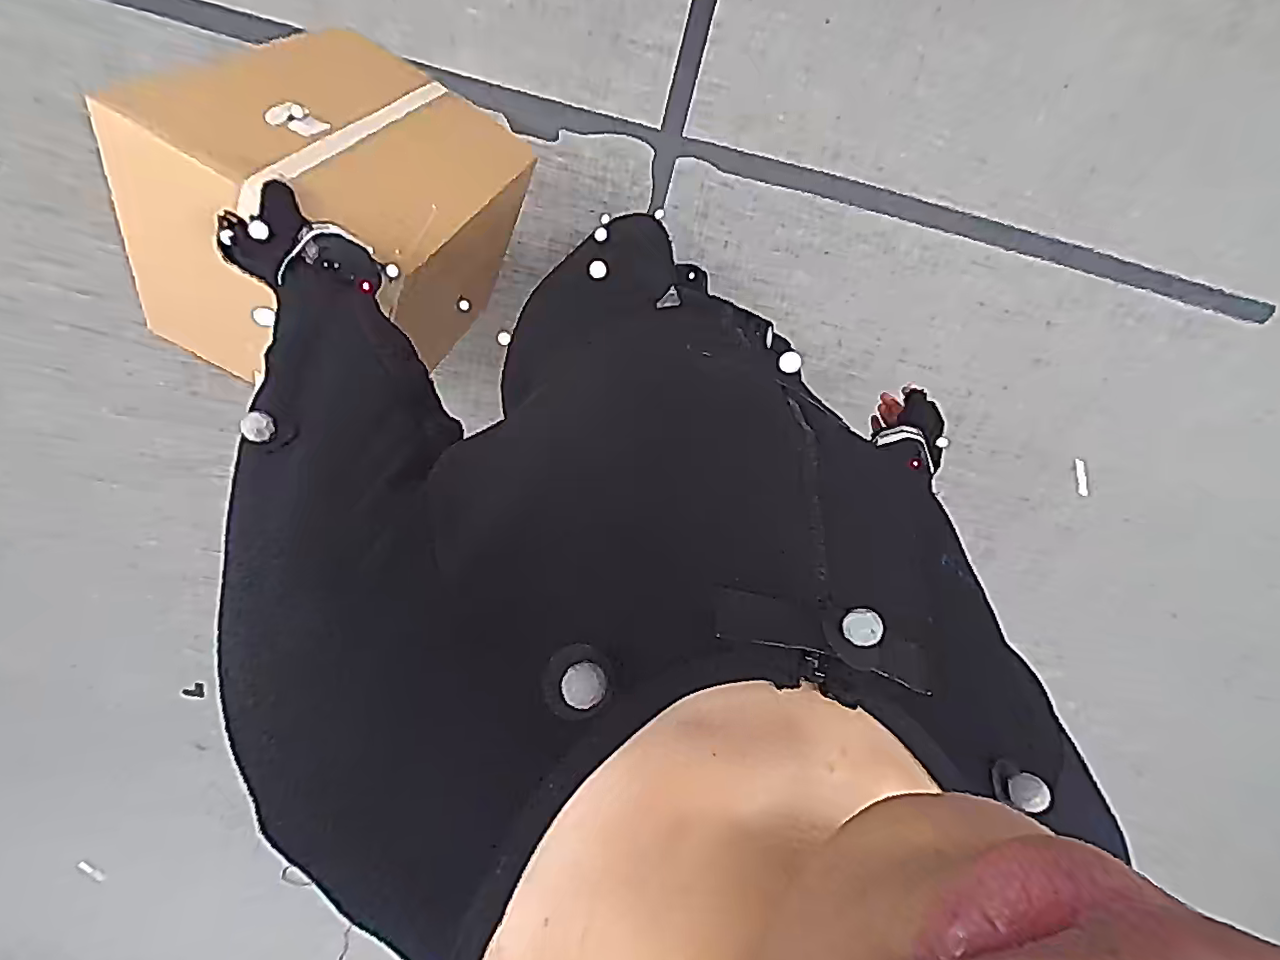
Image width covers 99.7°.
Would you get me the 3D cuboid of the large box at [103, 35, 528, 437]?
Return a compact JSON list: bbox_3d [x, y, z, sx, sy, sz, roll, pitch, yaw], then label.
[{"bbox_3d":[-0.416,-0.348,0.789,0.320,0.408,0.320,29,139,-12],"label":"large box"}]
